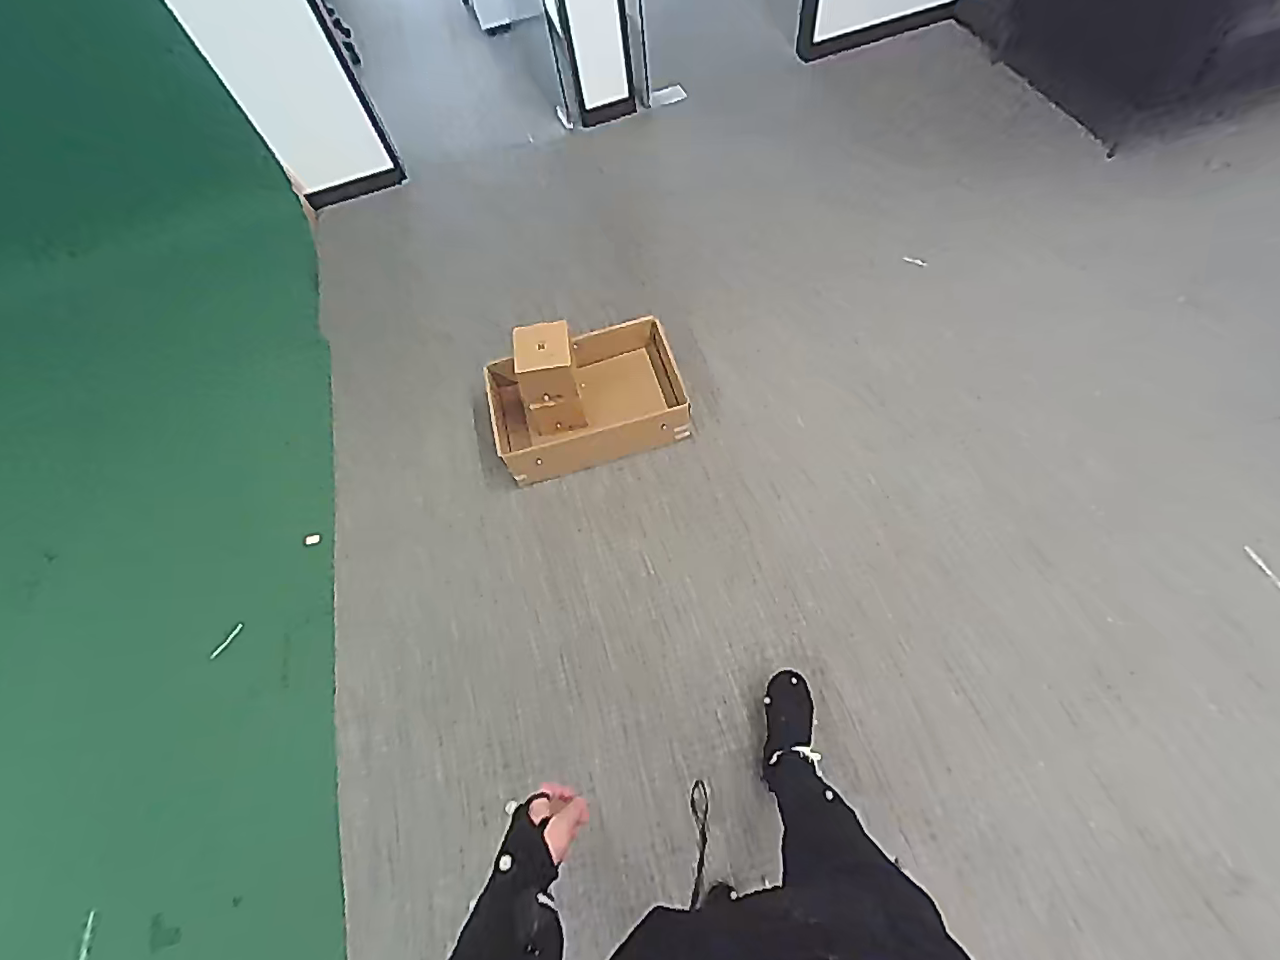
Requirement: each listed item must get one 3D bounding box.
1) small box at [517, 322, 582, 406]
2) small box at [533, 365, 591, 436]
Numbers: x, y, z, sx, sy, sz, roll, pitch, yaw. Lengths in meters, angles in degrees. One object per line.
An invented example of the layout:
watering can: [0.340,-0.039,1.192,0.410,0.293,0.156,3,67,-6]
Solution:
small box: [-0.276,-0.353,1.662,0.168,0.176,0.179,-9,62,0]
small box: [-0.265,-0.272,1.803,0.168,0.176,0.179,-12,62,-3]
